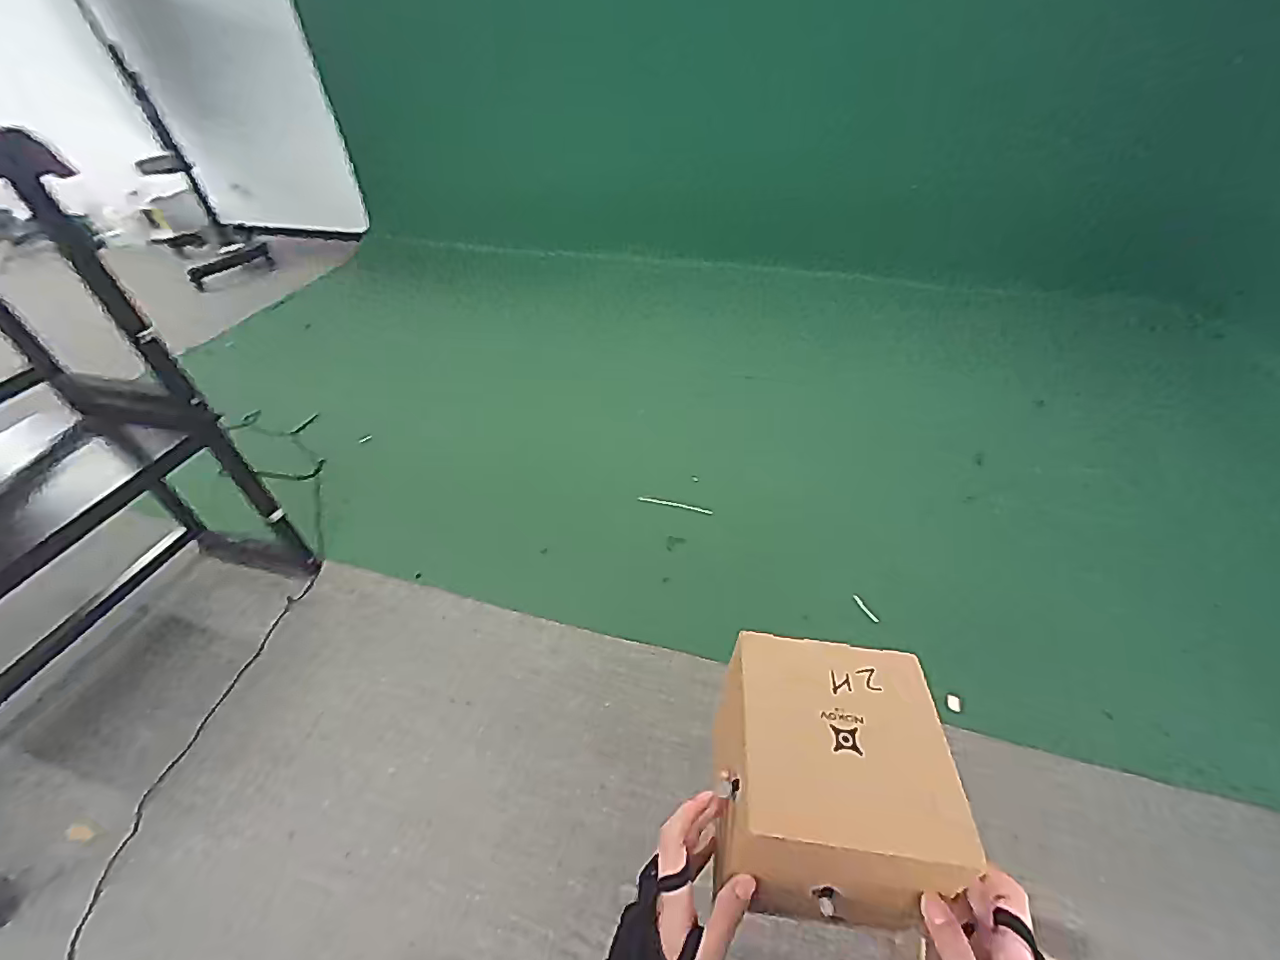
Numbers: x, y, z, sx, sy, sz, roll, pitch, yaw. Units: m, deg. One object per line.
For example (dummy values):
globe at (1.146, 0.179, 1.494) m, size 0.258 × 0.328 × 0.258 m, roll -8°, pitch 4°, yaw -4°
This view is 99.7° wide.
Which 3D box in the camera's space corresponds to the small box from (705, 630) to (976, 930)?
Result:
small box at (0.153, 0.265, 0.483) m, size 0.168 × 0.176 × 0.179 m, roll 8°, pitch 37°, yaw 3°
